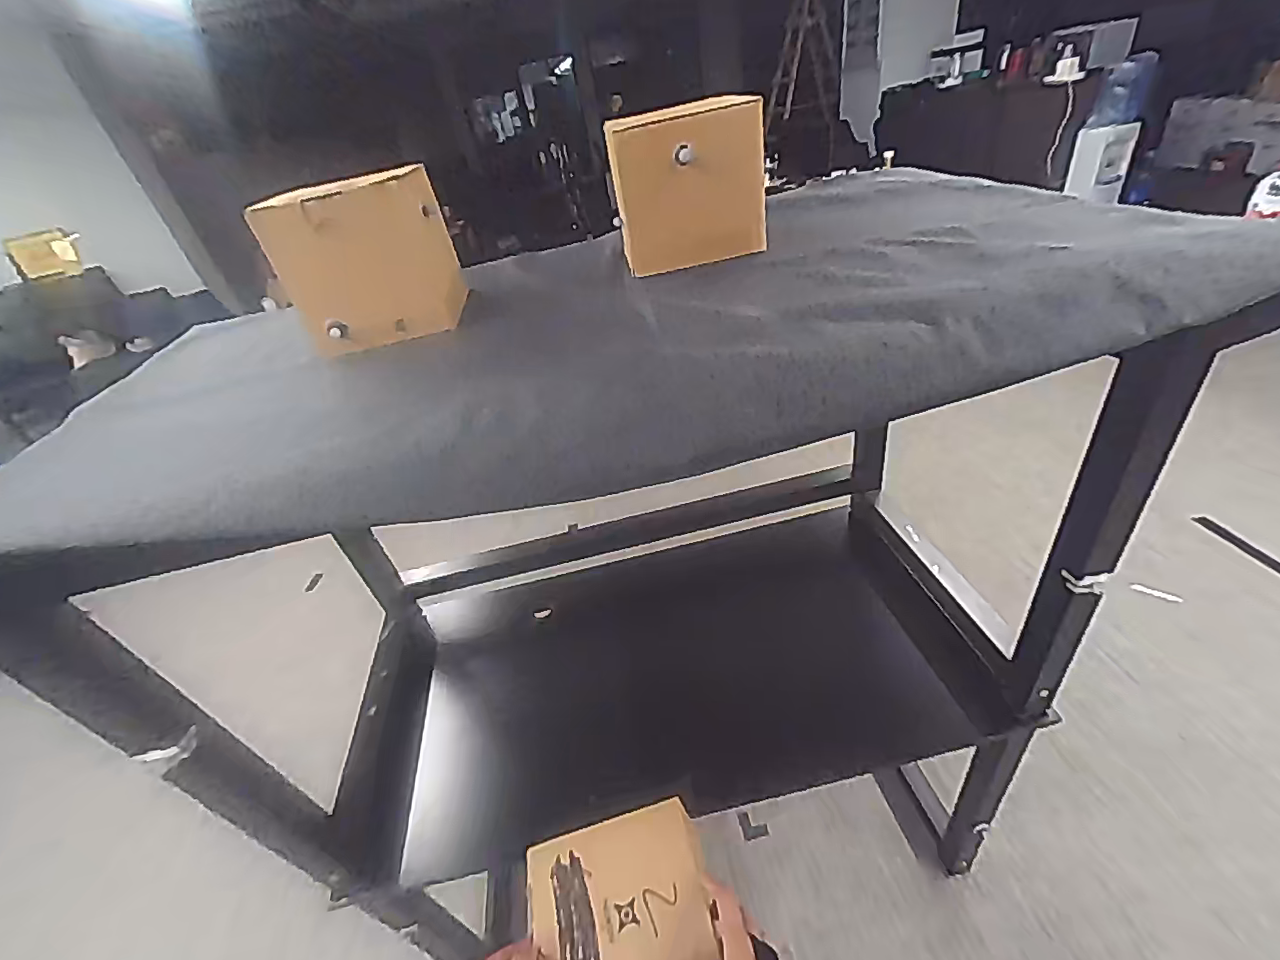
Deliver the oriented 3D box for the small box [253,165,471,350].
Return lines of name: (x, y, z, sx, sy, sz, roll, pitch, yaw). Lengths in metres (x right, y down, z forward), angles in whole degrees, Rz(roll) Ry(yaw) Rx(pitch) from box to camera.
small box: (-0.326, -0.277, 0.681, 0.168, 0.176, 0.179, -13, 35, -1)

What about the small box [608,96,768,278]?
small box: (0.063, -0.386, 0.712, 0.179, 0.176, 0.168, -12, 36, 2)
